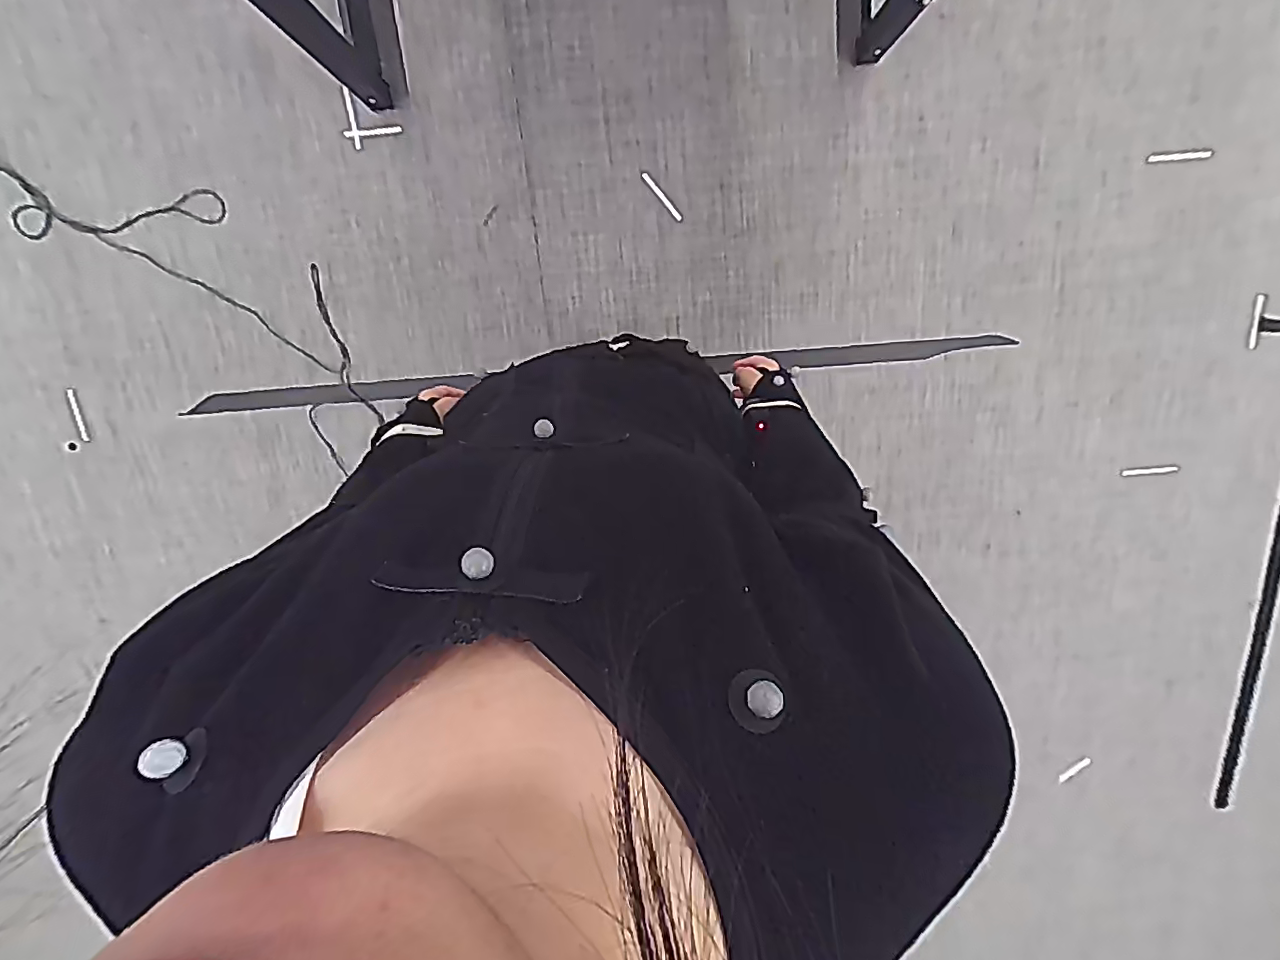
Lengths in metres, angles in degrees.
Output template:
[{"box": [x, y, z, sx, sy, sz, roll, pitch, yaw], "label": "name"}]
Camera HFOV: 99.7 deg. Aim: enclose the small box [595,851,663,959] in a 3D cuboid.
[{"box": [-0.029, 1.195, 1.523, 0.168, 0.176, 0.179, -9, 105, 0], "label": "small box"}]
